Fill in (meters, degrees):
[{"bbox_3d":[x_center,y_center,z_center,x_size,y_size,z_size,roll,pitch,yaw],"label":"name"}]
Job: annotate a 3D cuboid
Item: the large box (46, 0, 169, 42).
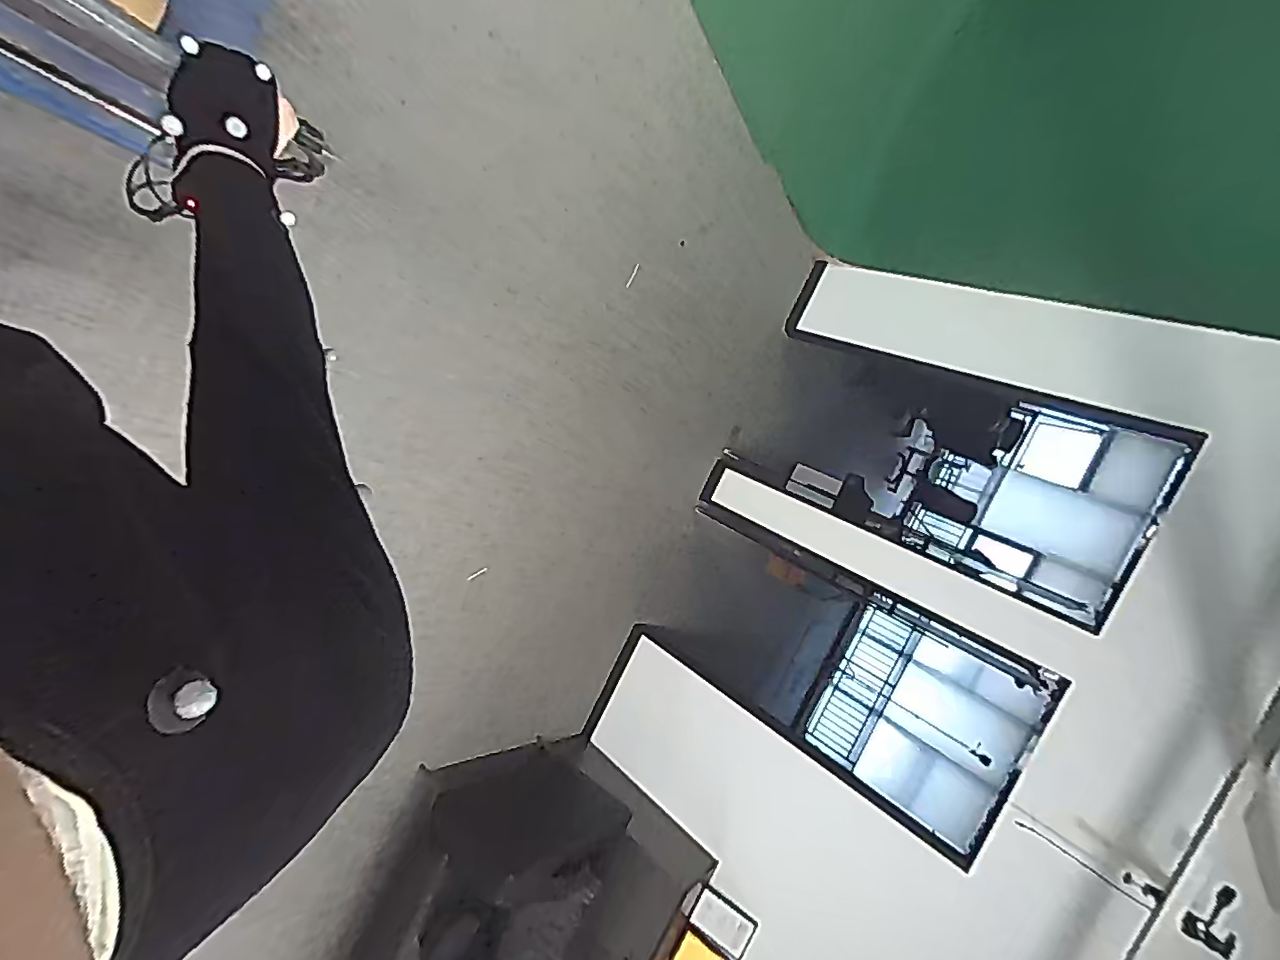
[{"bbox_3d":[-0.765,-0.873,0.675,0.320,0.320,0.408,19,96,-56],"label":"large box"}]
